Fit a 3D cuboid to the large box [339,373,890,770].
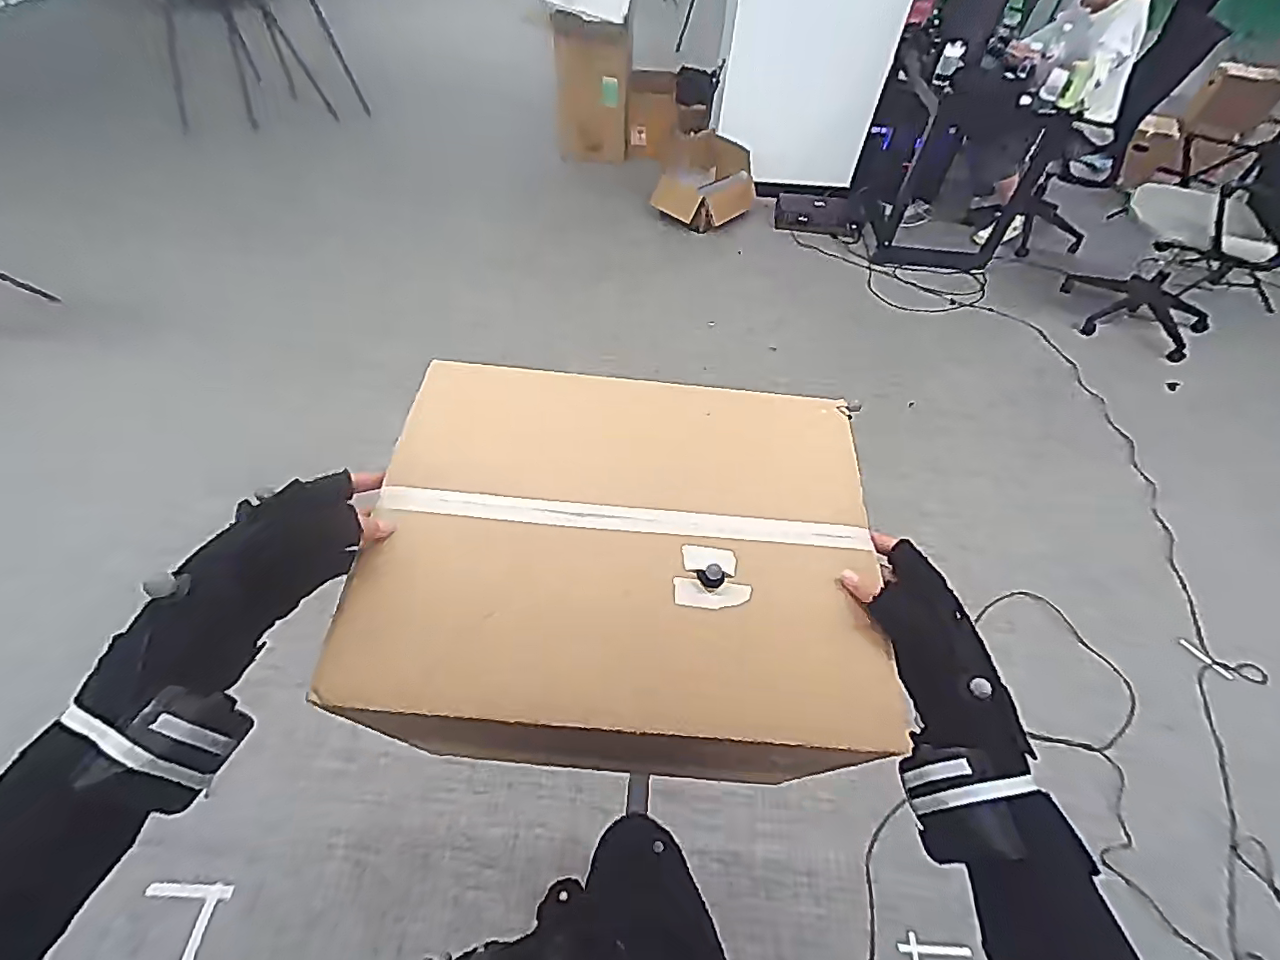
[{"bbox_3d":[-0.019,0.117,0.587,0.408,0.320,0.320,6,58,-2],"label":"large box"}]
